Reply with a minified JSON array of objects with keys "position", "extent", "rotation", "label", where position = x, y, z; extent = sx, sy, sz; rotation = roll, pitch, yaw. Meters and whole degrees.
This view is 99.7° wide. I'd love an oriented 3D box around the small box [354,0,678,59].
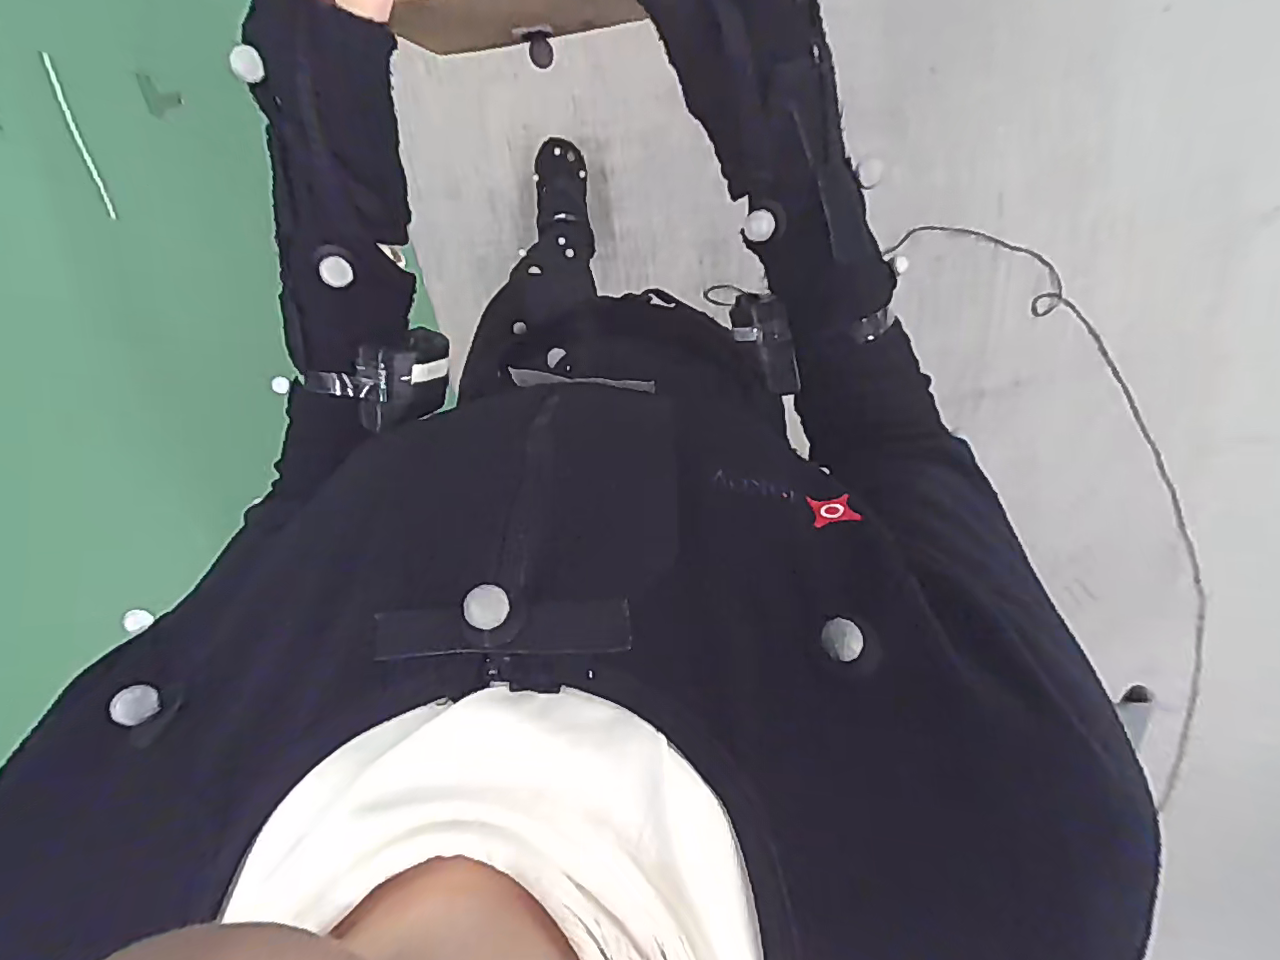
[{"position":[-0.066,-0.338,0.265],"extent":[0.168,0.176,0.179],"rotation":[-7,121,4],"label":"small box"}]
